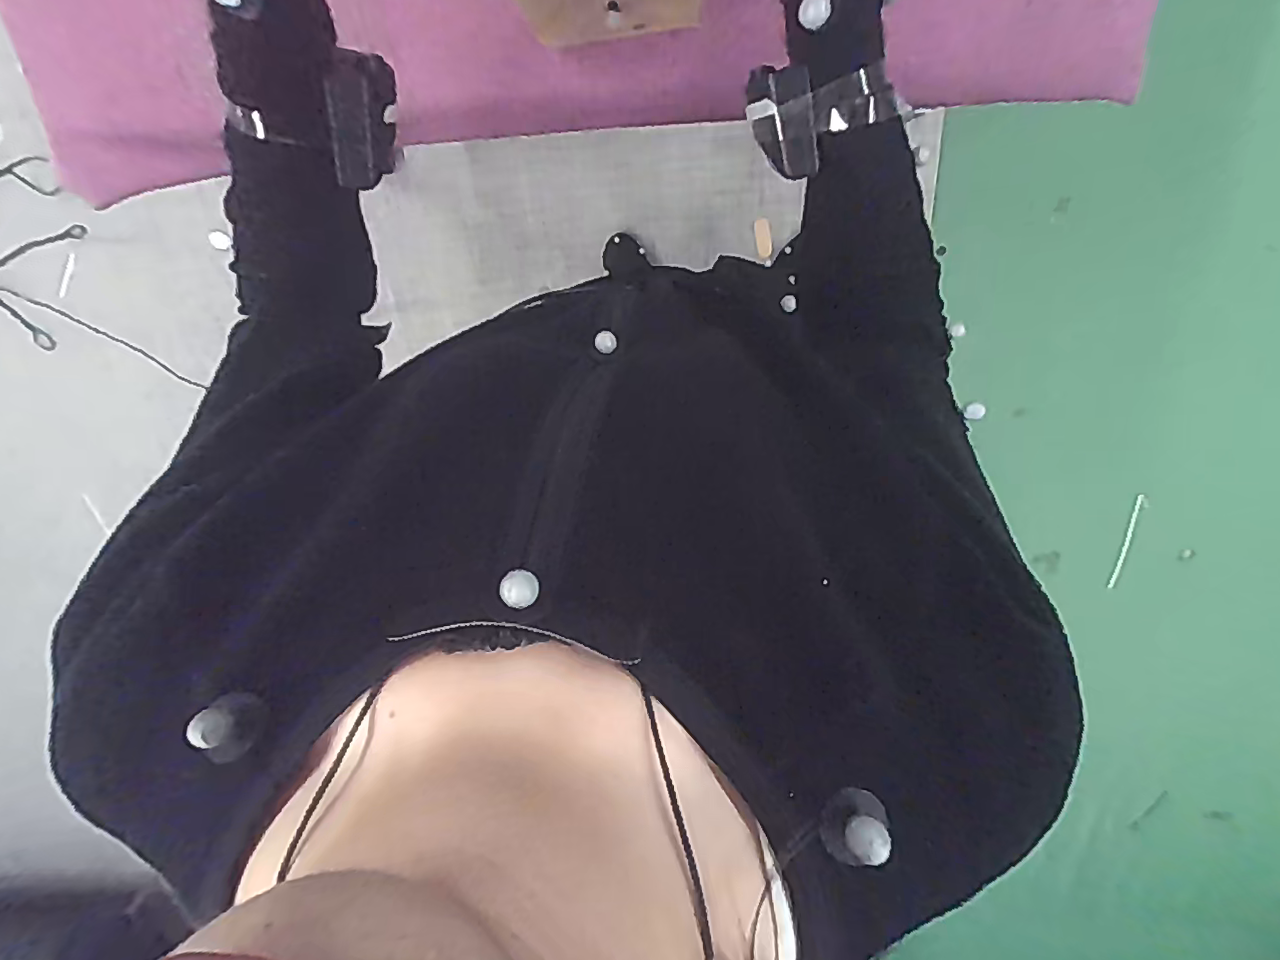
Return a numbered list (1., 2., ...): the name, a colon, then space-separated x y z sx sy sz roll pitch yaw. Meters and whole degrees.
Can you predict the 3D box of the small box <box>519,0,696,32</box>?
1. small box: -0.036 -0.511 0.454 0.168 0.176 0.179 -4 114 5
